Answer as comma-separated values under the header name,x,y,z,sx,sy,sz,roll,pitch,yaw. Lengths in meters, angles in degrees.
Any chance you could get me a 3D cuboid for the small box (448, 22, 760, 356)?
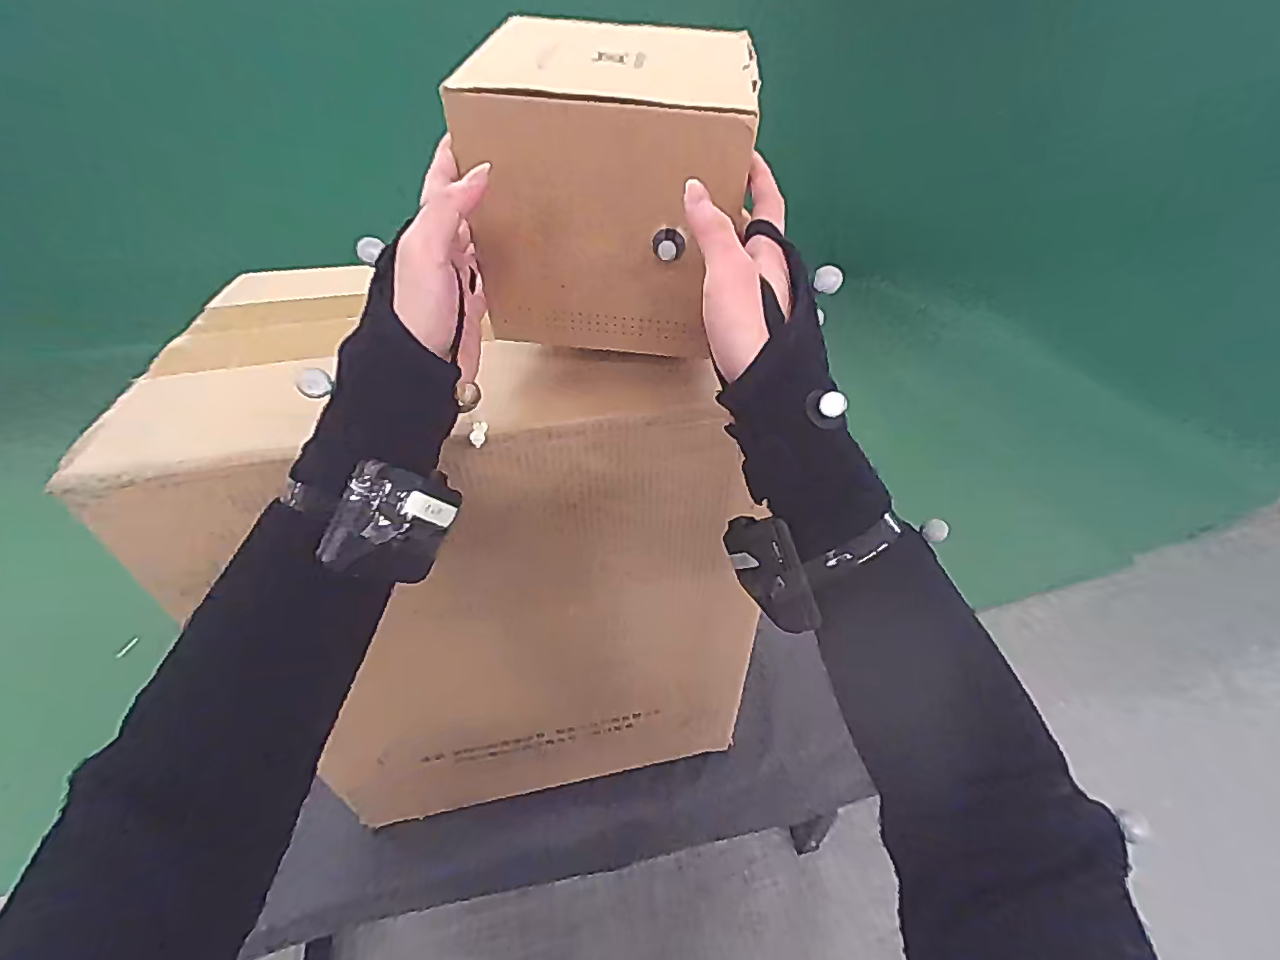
name,x,y,z,sx,sy,sz,roll,pitch,yaw
small box,-0.014,-0.212,0.407,0.179,0.176,0.168,6,51,4
